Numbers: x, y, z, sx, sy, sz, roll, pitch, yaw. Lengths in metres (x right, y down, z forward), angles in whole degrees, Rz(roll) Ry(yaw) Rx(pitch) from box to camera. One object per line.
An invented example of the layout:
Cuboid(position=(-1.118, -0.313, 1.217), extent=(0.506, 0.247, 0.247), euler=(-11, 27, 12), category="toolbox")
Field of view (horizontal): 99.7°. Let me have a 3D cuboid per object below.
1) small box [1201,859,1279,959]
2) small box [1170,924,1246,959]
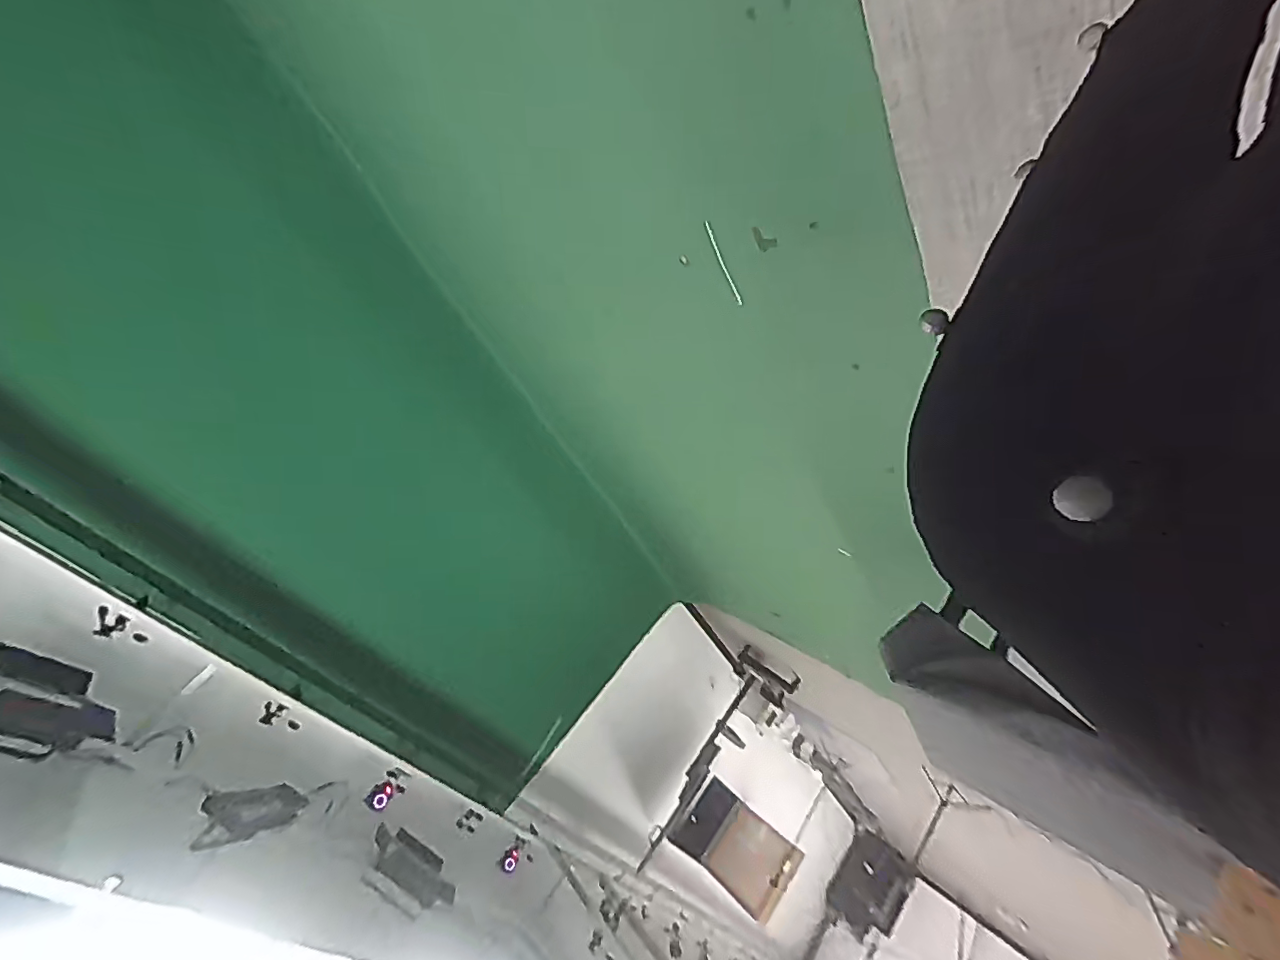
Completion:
Cuboid(position=(1.229, 0.885, 1.053), extent=(0.168, 0.176, 0.179), euler=(20, 152, 51), category="small box")
Cuboid(position=(1.118, 0.999, 1.015), extent=(0.168, 0.176, 0.179), euler=(52, 160, -27), category="small box")
